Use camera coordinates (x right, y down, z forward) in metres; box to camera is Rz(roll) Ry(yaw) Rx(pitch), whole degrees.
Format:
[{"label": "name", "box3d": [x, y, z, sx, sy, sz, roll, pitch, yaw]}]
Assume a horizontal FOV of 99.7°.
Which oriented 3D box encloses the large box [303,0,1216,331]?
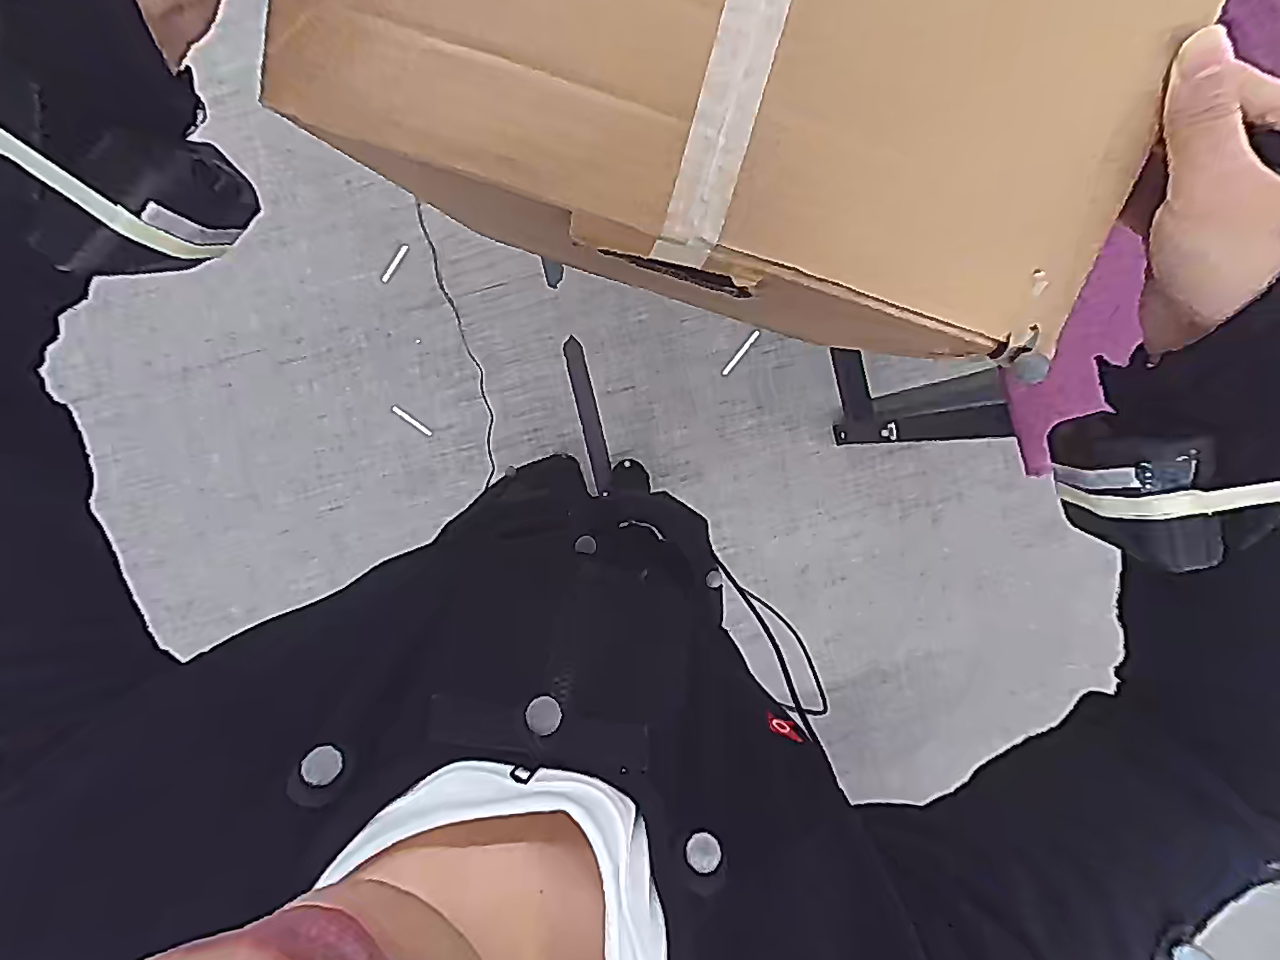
[{"label": "large box", "box3d": [0.072, -0.325, 0.294, 0.320, 0.320, 0.408, 15, 106, -5]}]
